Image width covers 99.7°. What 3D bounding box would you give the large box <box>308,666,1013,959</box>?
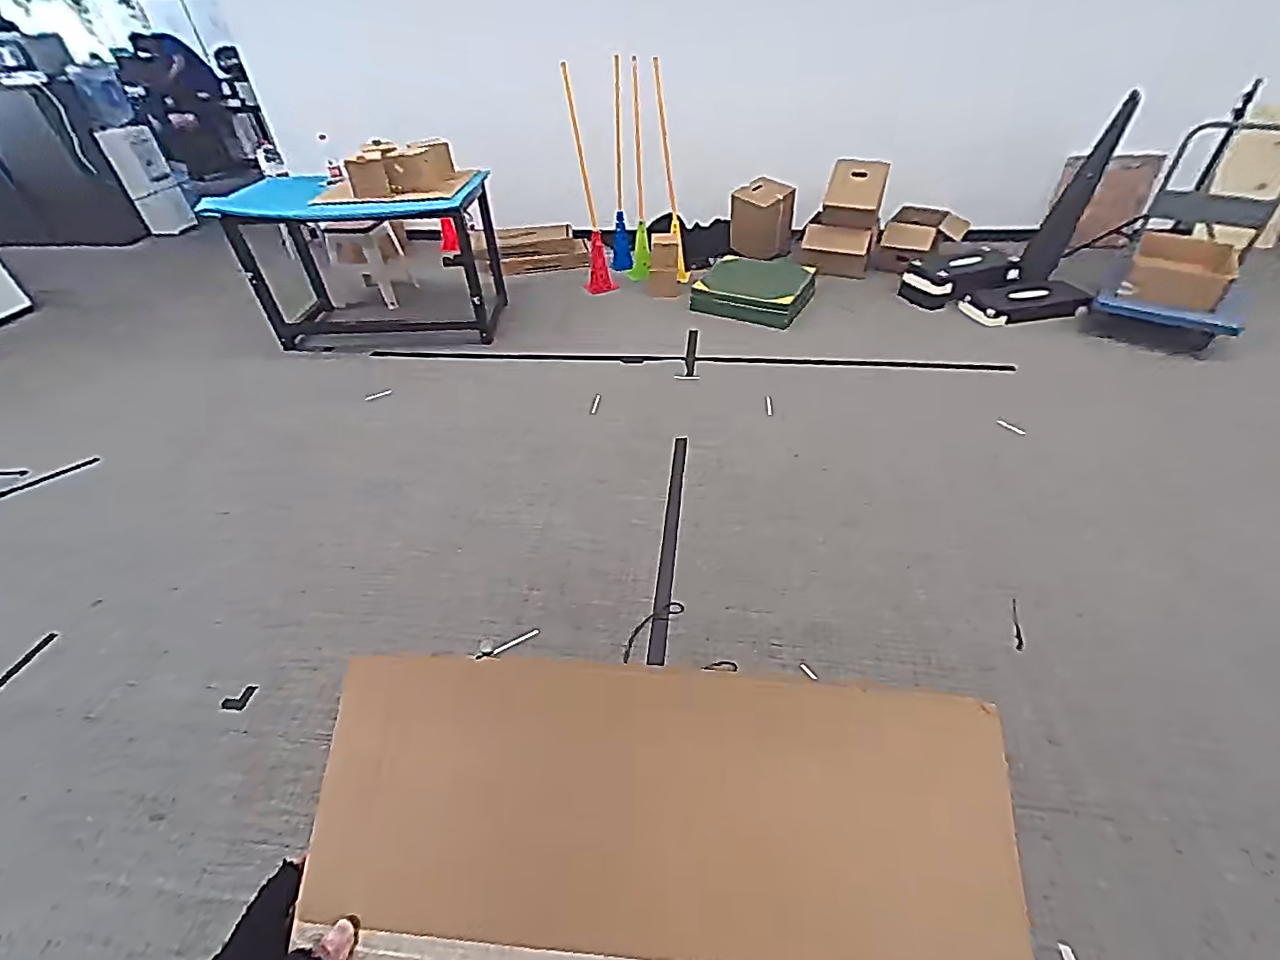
[{"bbox_3d":[0.014,0.326,0.443,0.408,0.320,0.320,2,73,7],"label":"large box"}]
